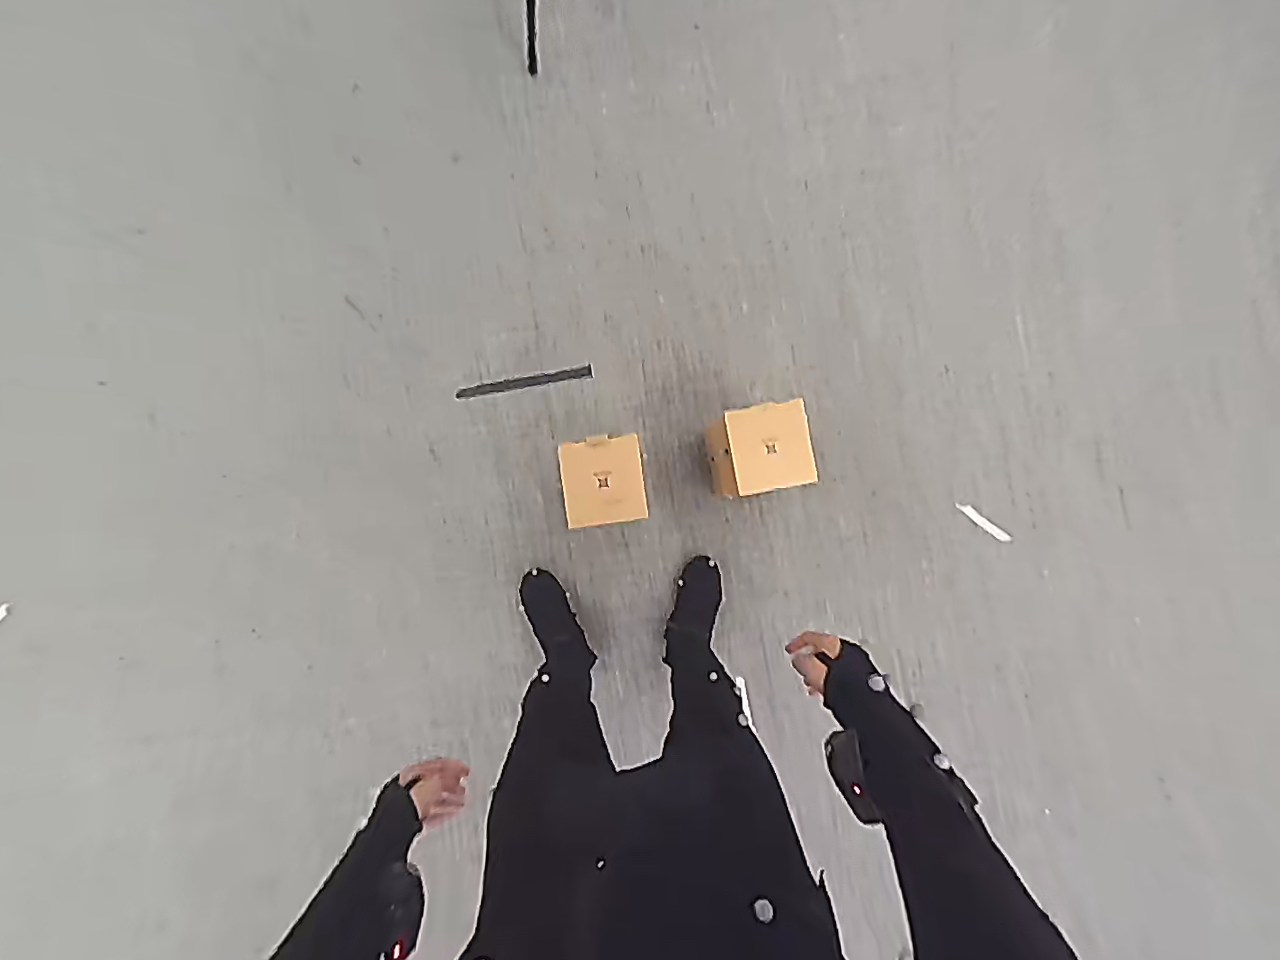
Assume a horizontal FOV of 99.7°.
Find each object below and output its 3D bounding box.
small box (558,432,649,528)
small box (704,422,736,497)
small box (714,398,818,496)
[{"bbox_3d":[-0.073,0.003,1.151,0.168,0.176,0.179,-8,88,0],"label":"small box"},{"bbox_3d":[0.258,-0.060,1.319,0.168,0.176,0.179,-11,88,-1],"label":"small box"},{"bbox_3d":[0.263,-0.065,1.157,0.168,0.176,0.179,-11,88,-1],"label":"small box"}]
